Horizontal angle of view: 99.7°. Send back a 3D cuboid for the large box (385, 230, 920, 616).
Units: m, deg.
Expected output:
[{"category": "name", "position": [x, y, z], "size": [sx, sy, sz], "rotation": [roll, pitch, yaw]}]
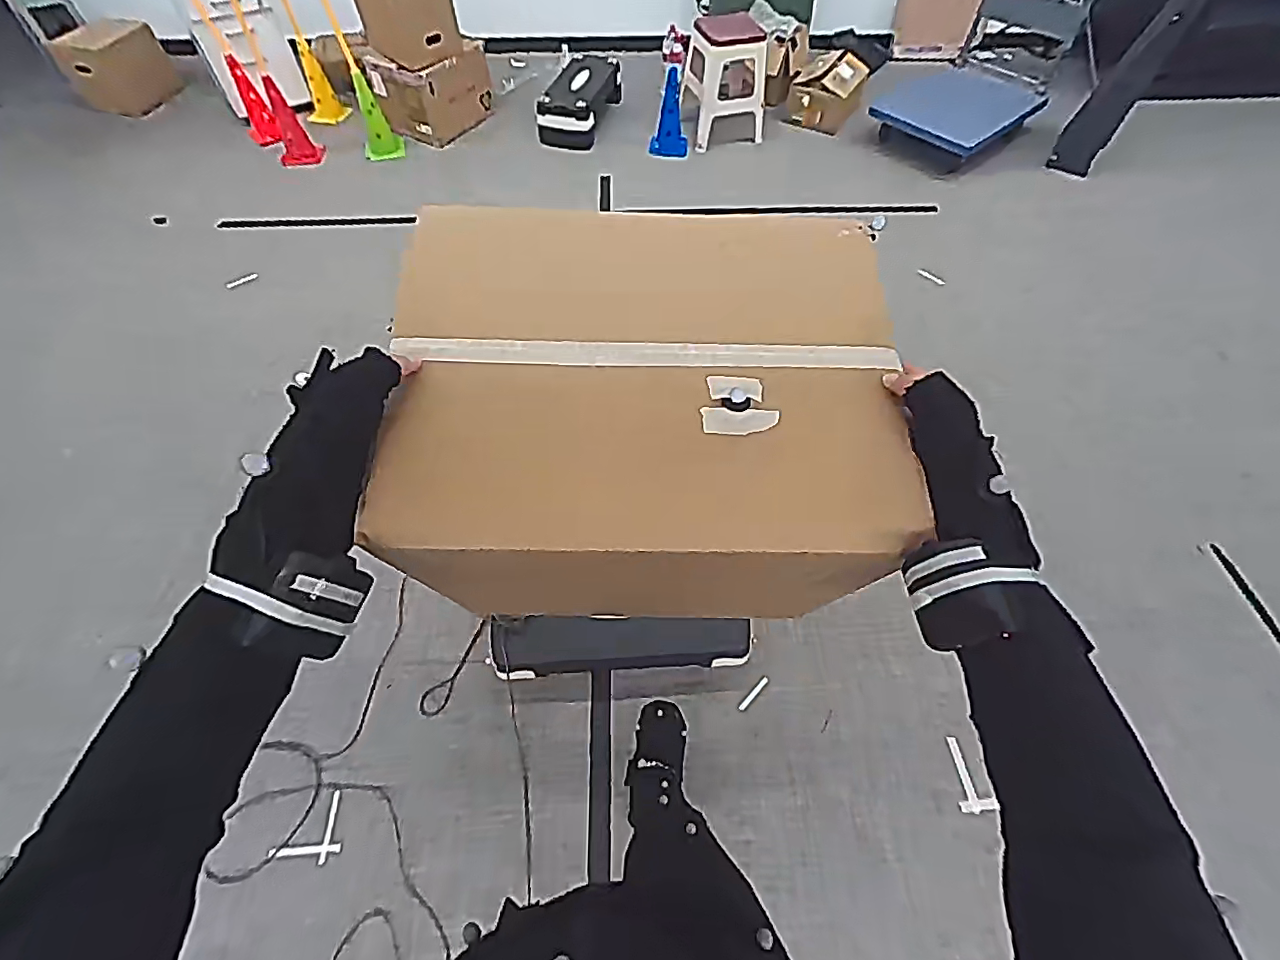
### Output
[{"category": "large box", "position": [0.004, -0.035, 0.589], "size": [0.408, 0.320, 0.320], "rotation": [1, 67, -2]}]
